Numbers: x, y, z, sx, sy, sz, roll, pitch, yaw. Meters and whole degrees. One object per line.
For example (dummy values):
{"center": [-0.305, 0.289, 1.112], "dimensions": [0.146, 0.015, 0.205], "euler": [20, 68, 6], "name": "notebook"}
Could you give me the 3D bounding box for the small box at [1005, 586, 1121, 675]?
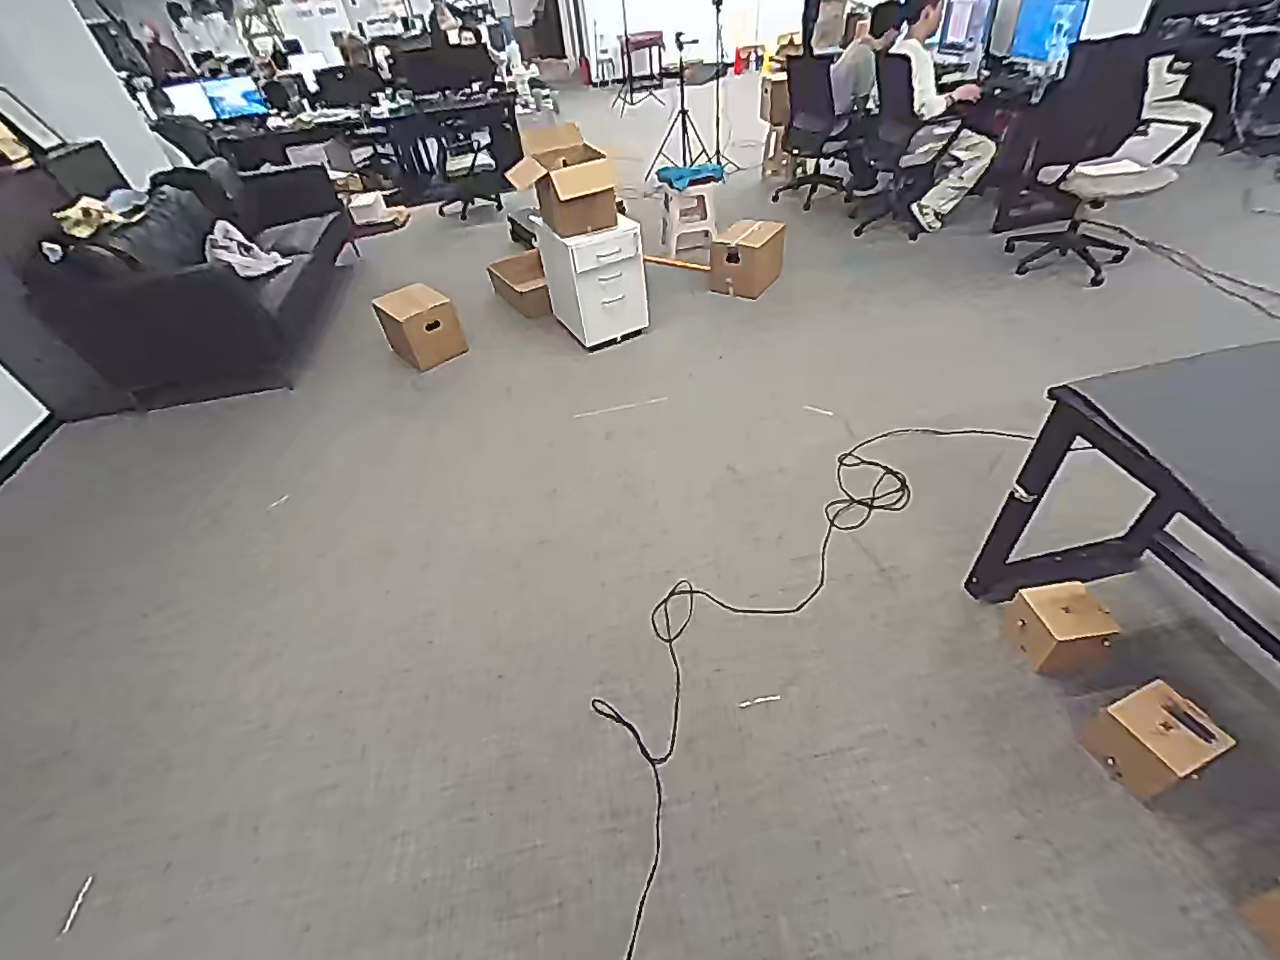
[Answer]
{"center": [1.149, 0.419, 1.492], "dimensions": [0.179, 0.176, 0.168], "euler": [-8, 42, -1], "name": "small box"}
